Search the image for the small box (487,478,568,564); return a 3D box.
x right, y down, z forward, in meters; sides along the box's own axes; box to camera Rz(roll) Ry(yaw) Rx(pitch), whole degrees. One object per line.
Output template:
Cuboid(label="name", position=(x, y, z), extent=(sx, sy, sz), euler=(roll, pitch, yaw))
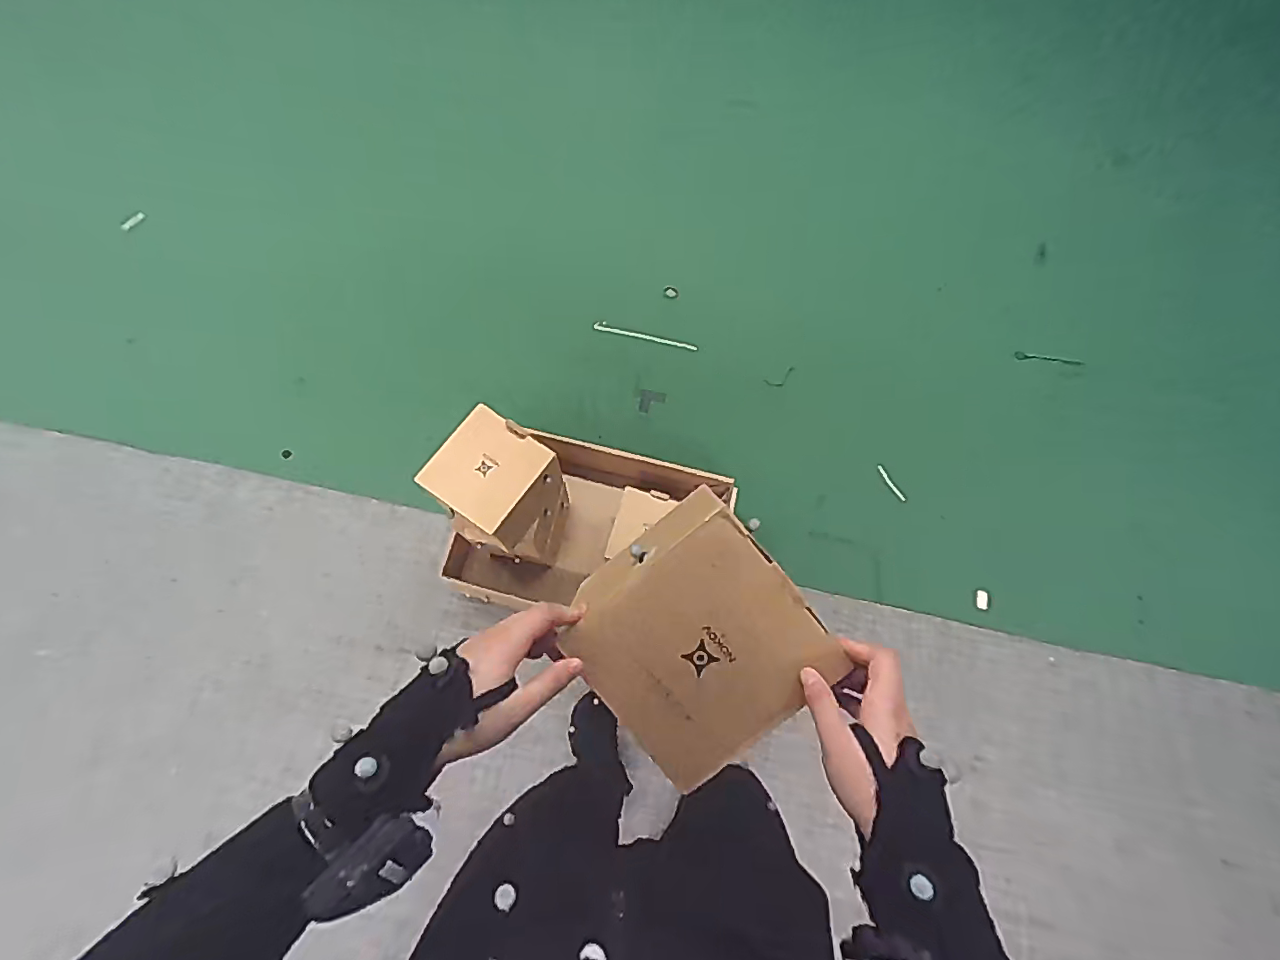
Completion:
Cuboid(label="small box", position=(-0.269, 0.087, 1.284), extent=(0.168, 0.176, 0.179), euler=(12, 72, 0))

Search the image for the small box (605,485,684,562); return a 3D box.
Cuboid(label="small box", position=(0.019, 0.136, 1.287), extent=(0.168, 0.176, 0.179), euler=(17, 72, 3))

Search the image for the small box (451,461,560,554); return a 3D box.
Cuboid(label="small box", position=(-0.267, 0.045, 1.125), extent=(0.168, 0.176, 0.179), euler=(13, 71, 0))

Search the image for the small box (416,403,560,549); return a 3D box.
Cuboid(label="small box", position=(-0.256, 0.002, 0.969), extent=(0.168, 0.176, 0.179), euler=(34, 72, 7))

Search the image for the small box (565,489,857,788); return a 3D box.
Cuboid(label="small box", position=(0.056, 0.125, 0.501), extent=(0.179, 0.176, 0.168), euler=(-39, 93, 5))
